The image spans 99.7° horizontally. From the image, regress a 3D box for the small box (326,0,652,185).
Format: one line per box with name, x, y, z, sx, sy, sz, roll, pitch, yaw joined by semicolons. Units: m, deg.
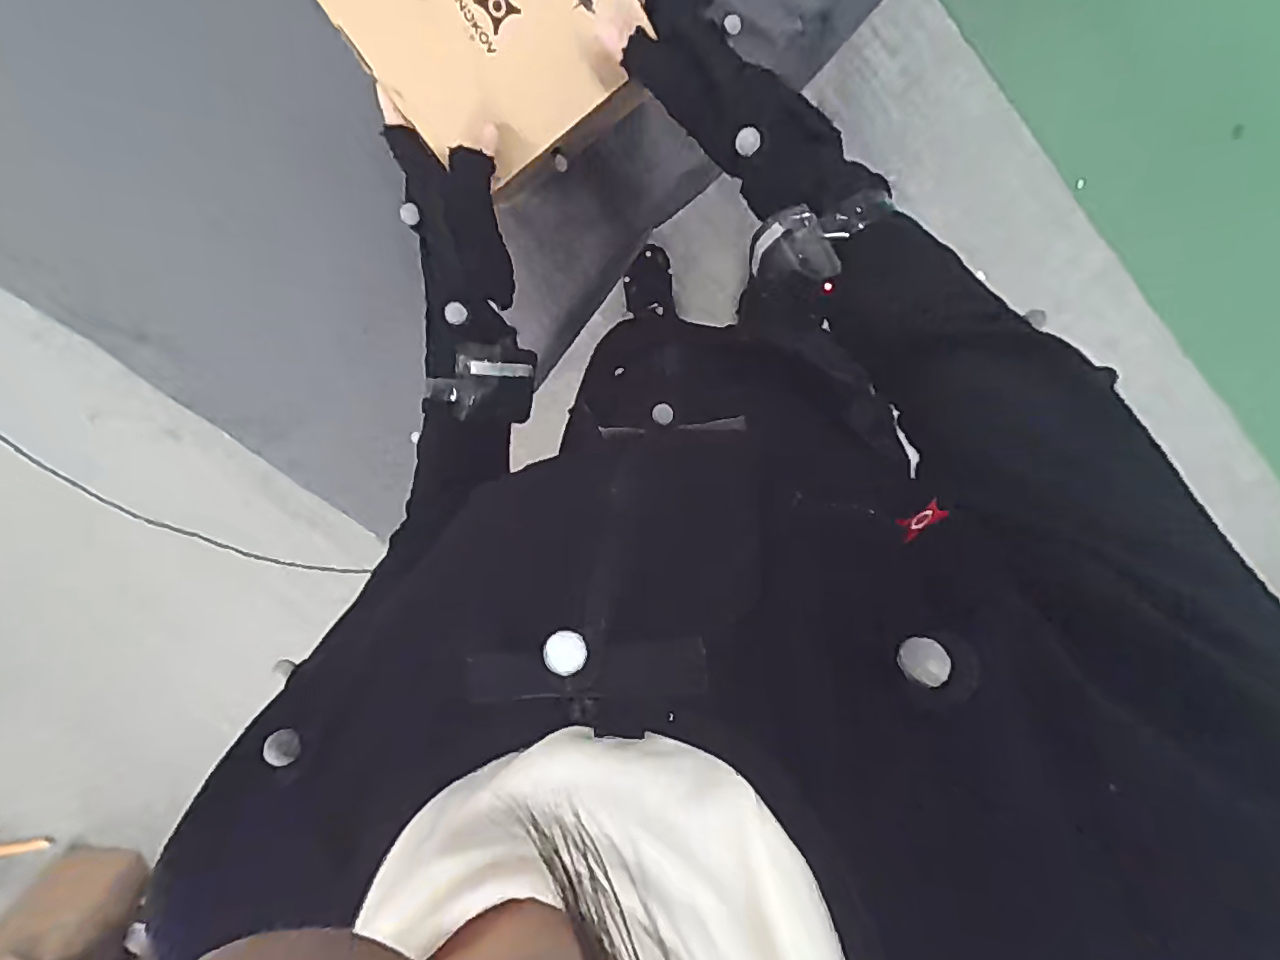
small box;-0.105;-0.358;0.425;0.179;0.176;0.168;-33;113;15
